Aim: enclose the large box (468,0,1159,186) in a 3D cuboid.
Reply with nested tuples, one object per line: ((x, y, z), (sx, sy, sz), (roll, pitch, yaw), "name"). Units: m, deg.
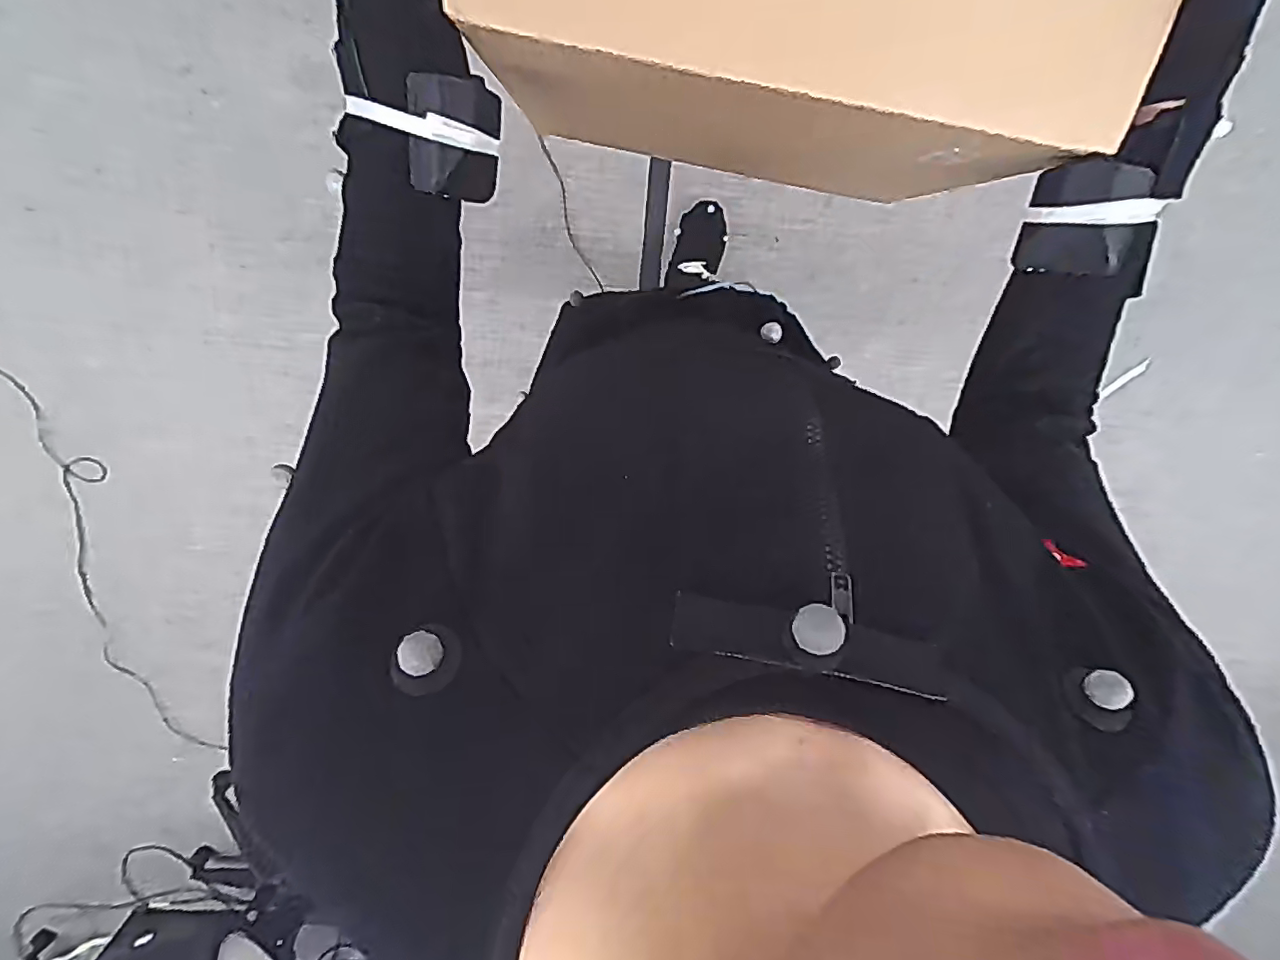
((0.113, -0.438, 0.404), (0.408, 0.320, 0.320), (8, 113, -5), "large box")
